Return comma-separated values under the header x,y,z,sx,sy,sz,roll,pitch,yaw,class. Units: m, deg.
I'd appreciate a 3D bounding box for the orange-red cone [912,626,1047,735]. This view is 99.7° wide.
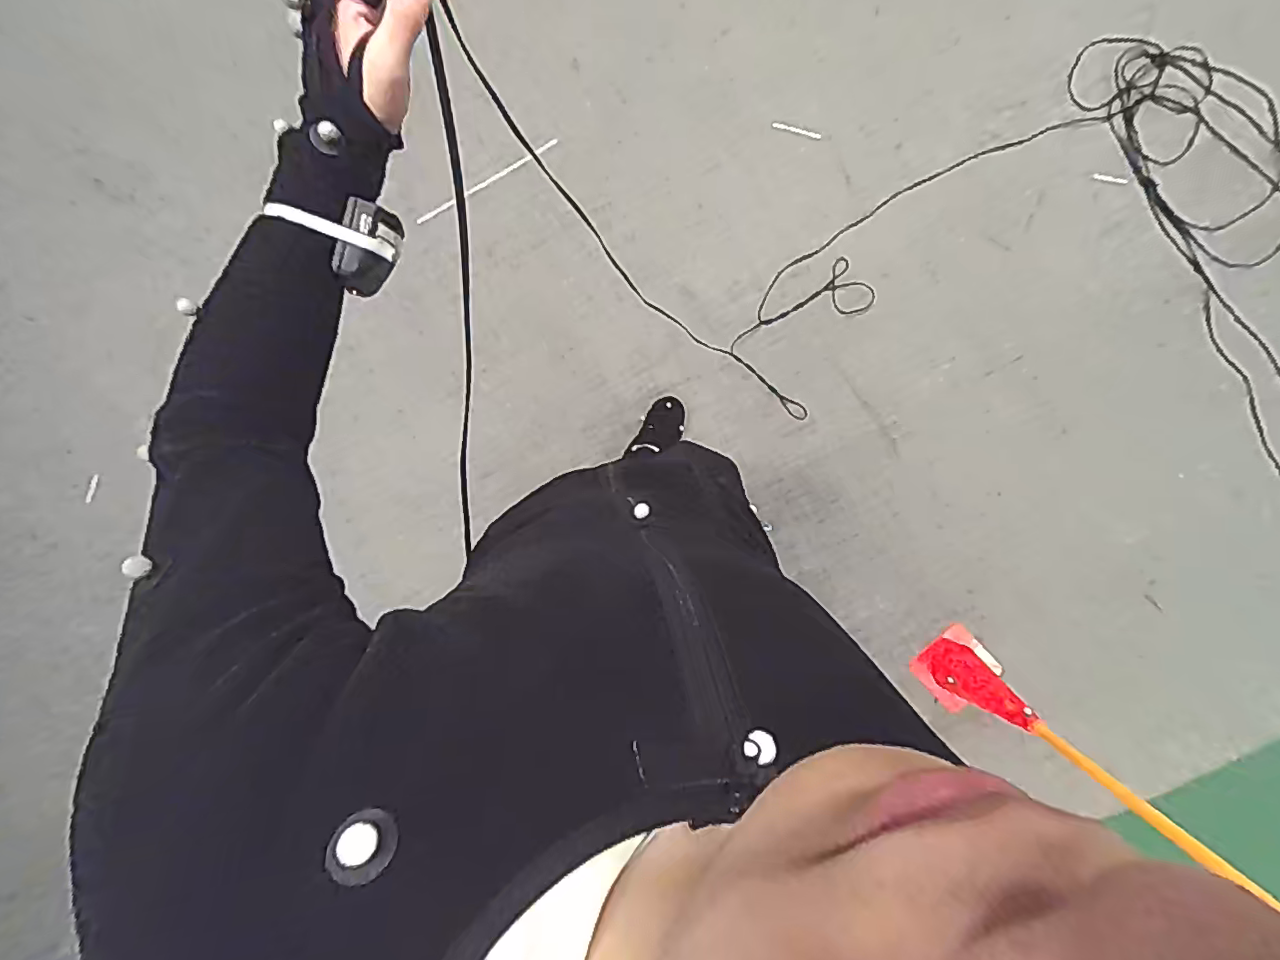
x,y,z,sx,sy,sz,roll,pitch,yaw,class
0.917,0.557,1.409,0.199,0.360,0.198,-42,91,2,orange-red cone
